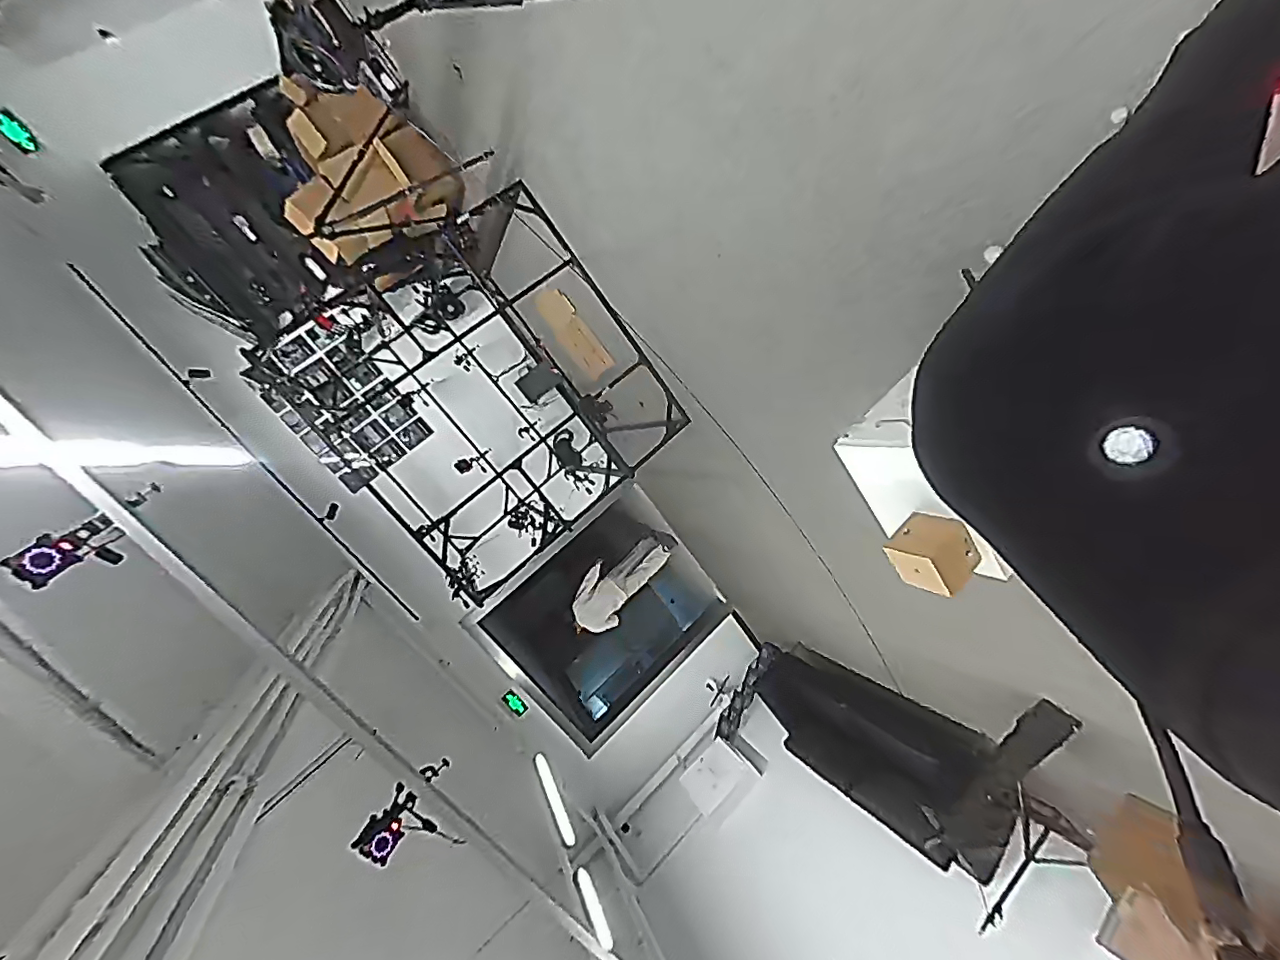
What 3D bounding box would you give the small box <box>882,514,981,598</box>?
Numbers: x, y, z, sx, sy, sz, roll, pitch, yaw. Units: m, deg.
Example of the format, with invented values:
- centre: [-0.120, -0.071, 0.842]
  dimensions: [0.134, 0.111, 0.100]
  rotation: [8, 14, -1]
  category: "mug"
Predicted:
- centre: [0.891, 0.224, 1.651]
  dimensions: [0.168, 0.176, 0.179]
  rotation: [53, 166, -18]
  category: "small box"
